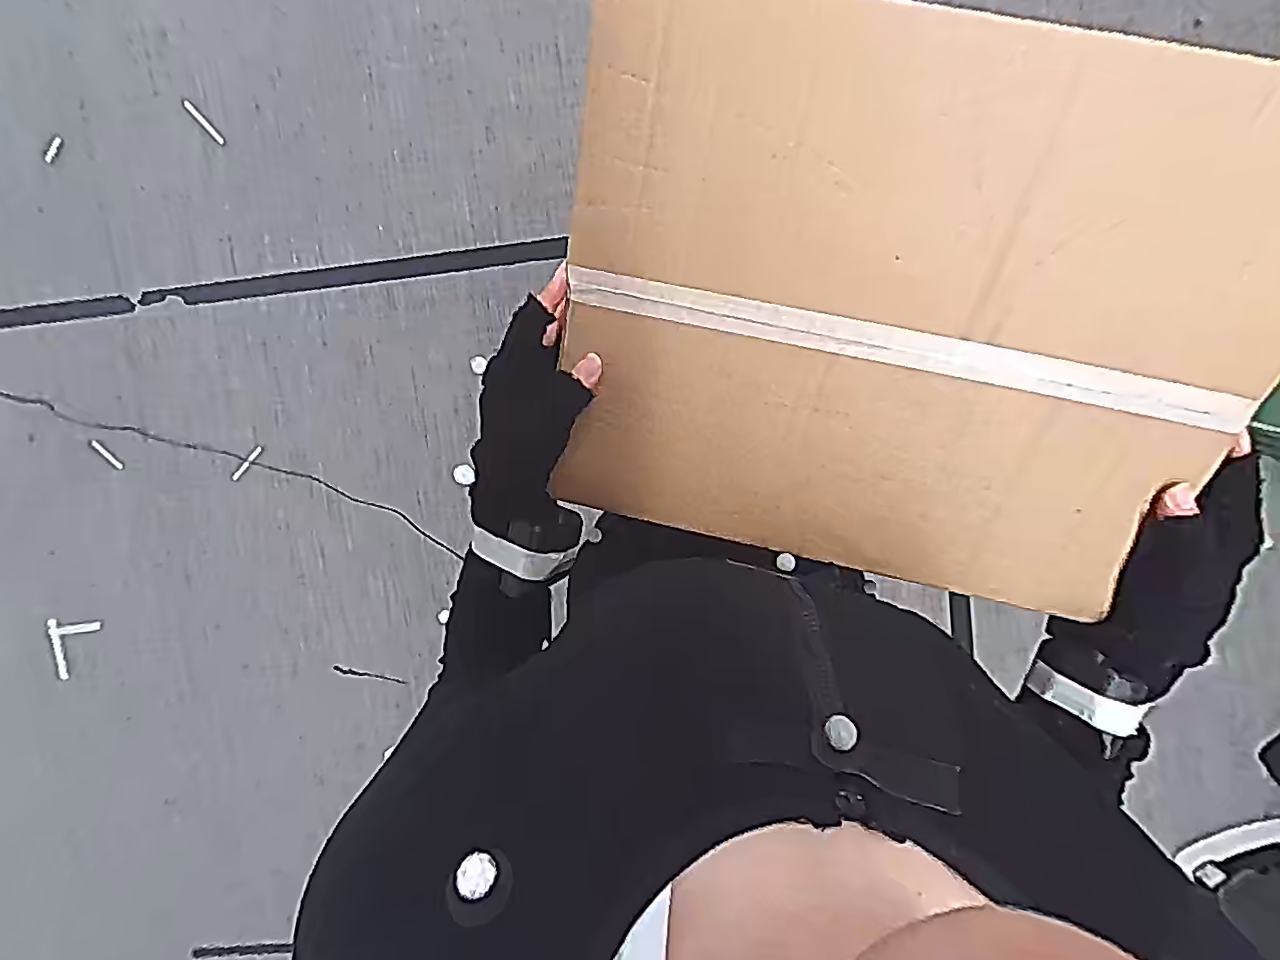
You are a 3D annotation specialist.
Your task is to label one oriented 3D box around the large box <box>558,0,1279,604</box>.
[{"bbox_3d":[0.173,-0.146,0.468,0.408,0.320,0.320,13,117,4],"label":"large box"}]
